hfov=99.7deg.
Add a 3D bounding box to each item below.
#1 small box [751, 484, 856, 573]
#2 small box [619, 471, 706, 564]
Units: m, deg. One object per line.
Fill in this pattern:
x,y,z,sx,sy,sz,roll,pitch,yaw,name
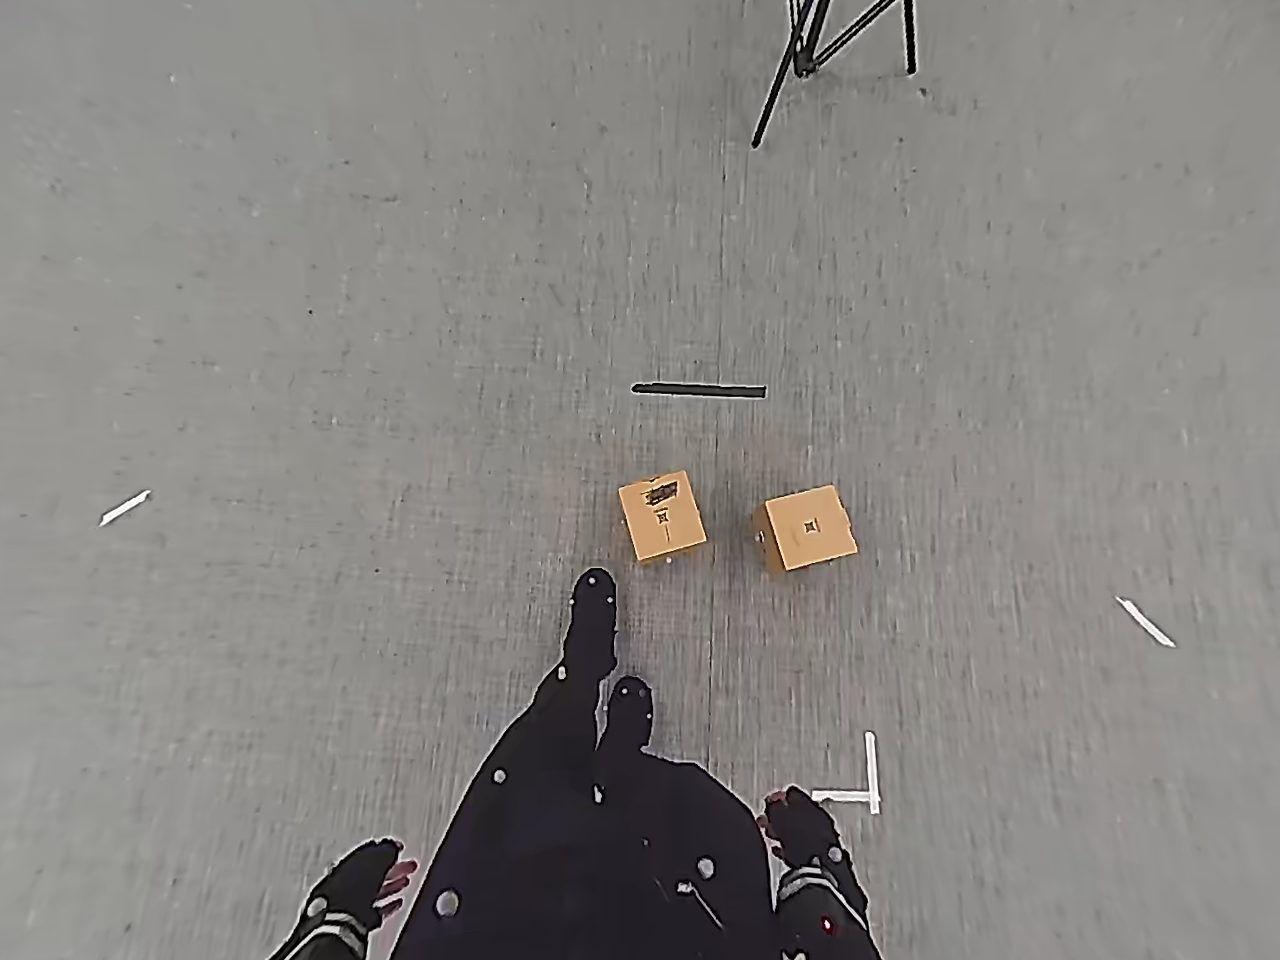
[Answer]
0.388,0.123,1.312,0.179,0.176,0.168,-15,77,-3,small box
0.049,0.097,1.315,0.168,0.176,0.179,-16,78,-4,small box
